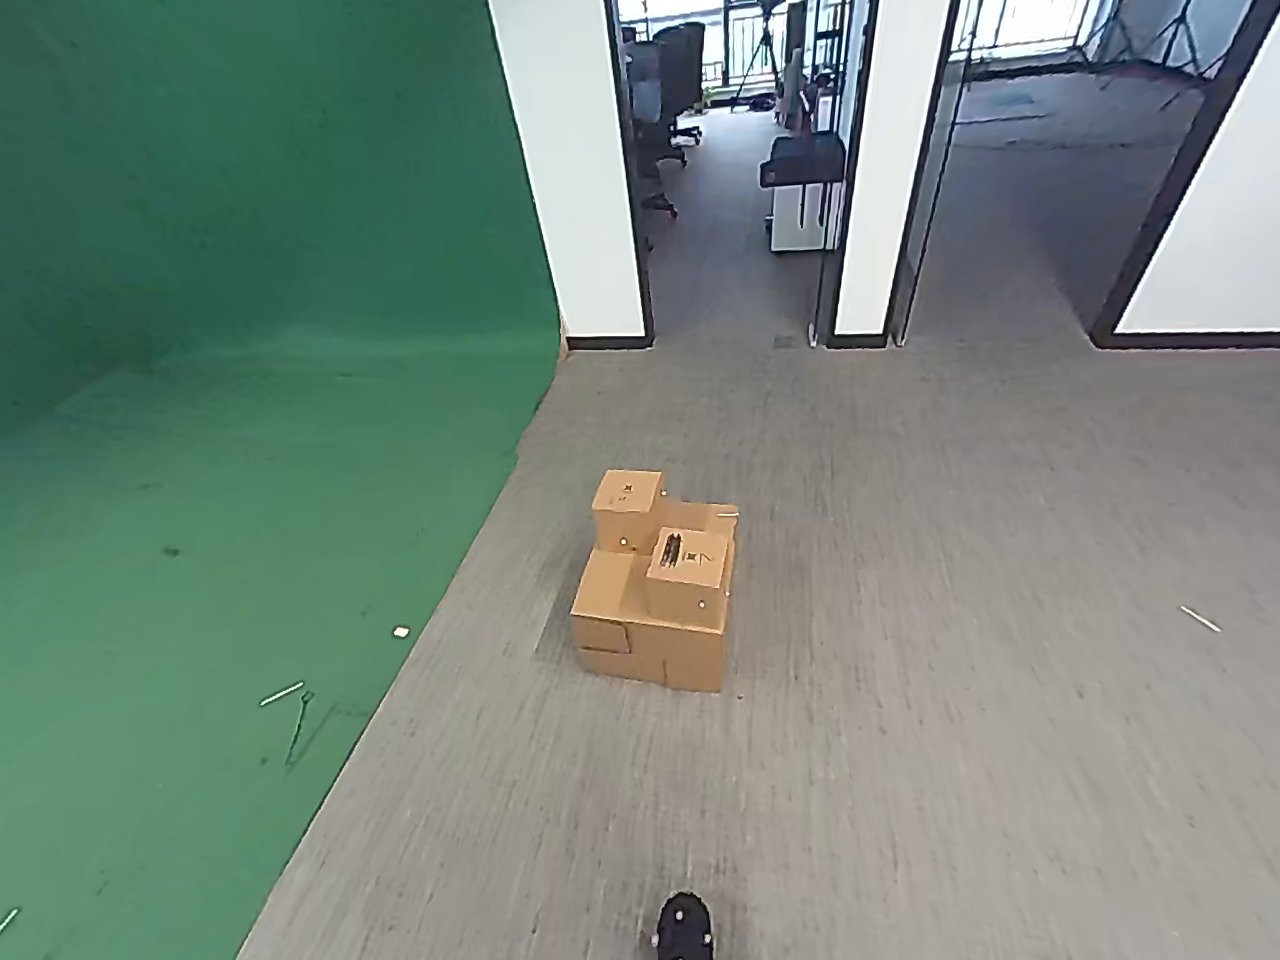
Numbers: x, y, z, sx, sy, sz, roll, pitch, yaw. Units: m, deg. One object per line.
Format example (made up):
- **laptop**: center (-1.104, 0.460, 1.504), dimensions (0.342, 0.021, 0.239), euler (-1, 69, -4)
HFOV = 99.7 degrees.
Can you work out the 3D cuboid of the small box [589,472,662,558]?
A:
- **small box**: center (-0.033, 0.098, 1.559), dimensions (0.168, 0.176, 0.179), euler (3, 40, 14)
